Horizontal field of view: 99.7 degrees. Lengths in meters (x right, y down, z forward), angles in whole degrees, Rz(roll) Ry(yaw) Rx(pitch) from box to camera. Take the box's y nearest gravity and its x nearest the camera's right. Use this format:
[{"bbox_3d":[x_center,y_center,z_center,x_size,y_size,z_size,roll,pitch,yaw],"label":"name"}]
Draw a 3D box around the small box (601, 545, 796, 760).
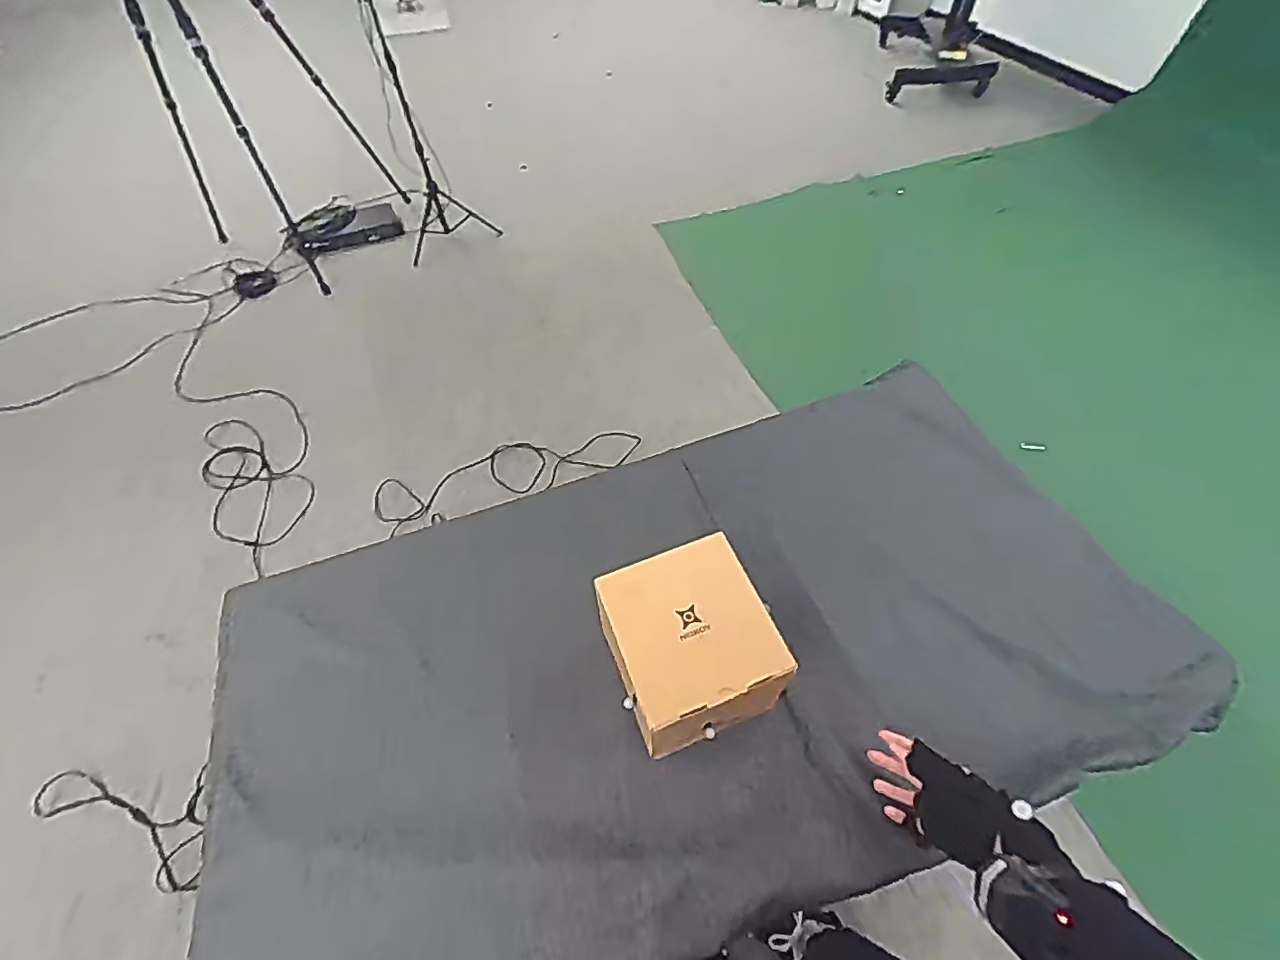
[{"bbox_3d":[0.059,0.213,0.662,0.168,0.176,0.179,-19,57,-11],"label":"small box"}]
